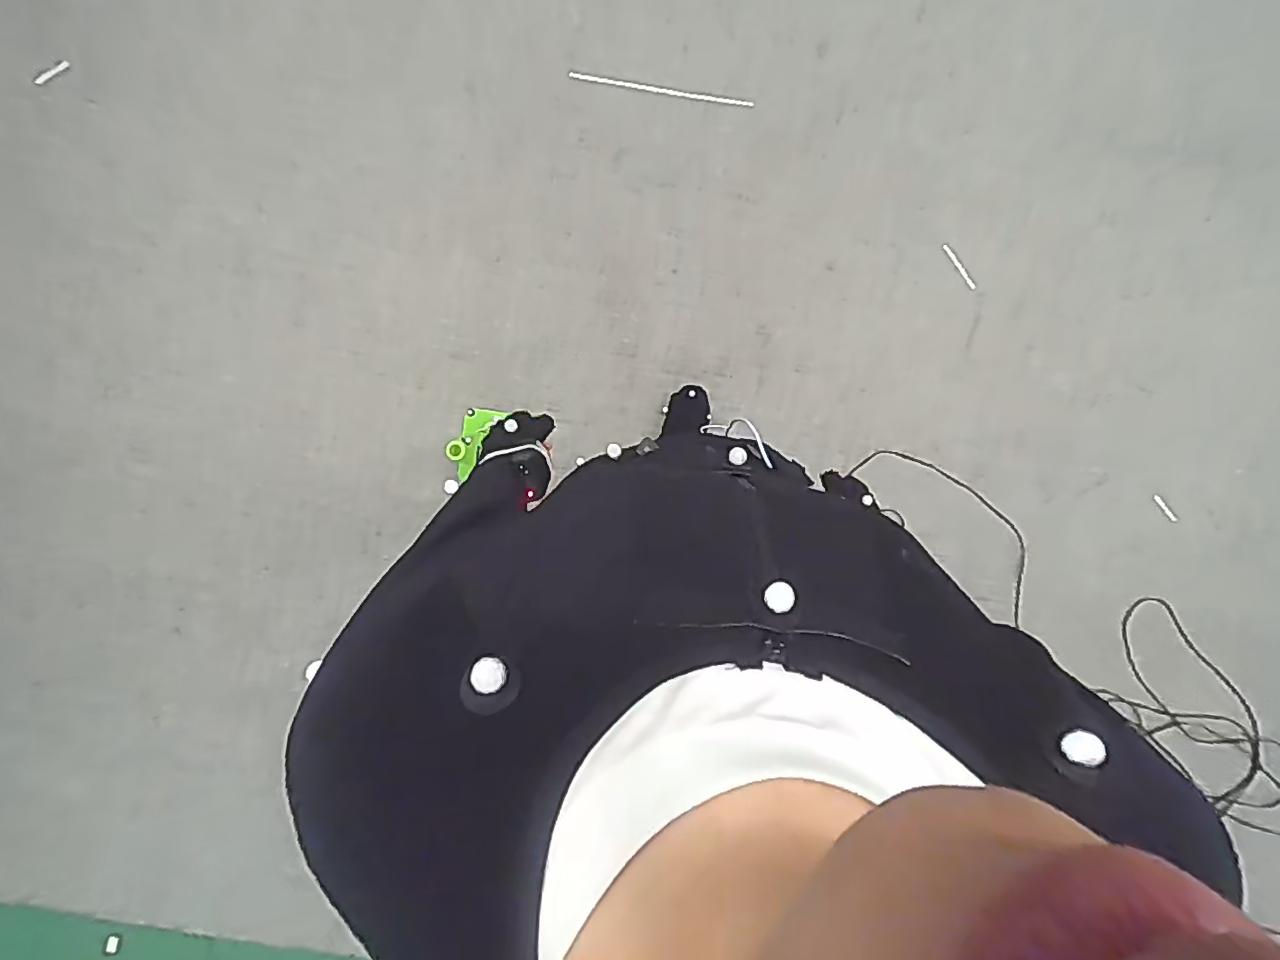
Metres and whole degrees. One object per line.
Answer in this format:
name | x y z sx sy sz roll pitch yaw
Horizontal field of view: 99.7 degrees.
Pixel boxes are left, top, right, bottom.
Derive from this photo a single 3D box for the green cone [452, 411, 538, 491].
green cone | -0.379 -0.064 1.287 0.202 0.368 0.200 7 94 -2
